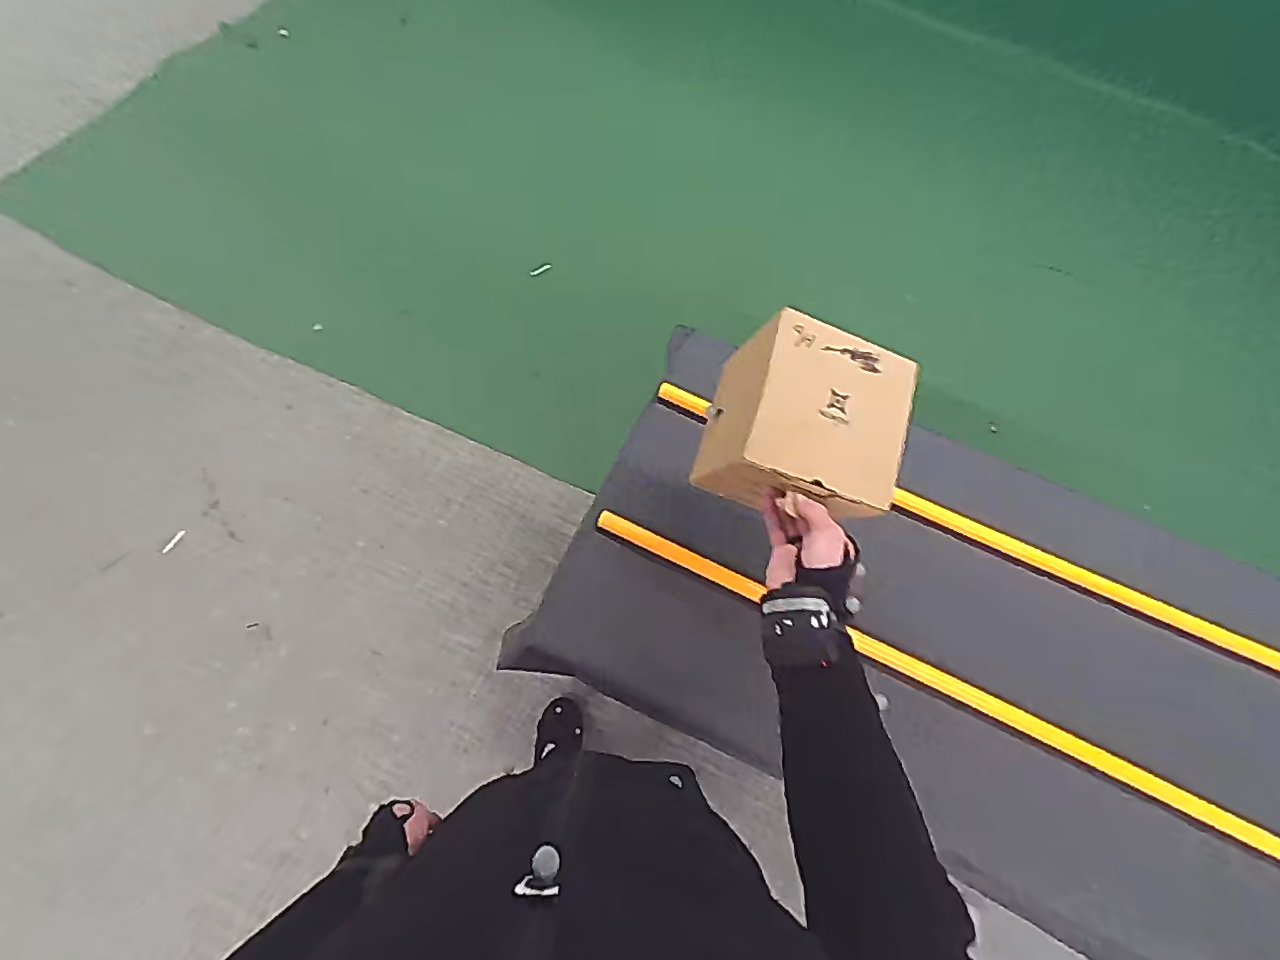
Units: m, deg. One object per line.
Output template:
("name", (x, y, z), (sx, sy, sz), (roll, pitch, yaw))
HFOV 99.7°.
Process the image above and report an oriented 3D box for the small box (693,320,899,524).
("small box", (0.173, -0.053, 0.643), (0.168, 0.176, 0.179), (16, 77, -9))
